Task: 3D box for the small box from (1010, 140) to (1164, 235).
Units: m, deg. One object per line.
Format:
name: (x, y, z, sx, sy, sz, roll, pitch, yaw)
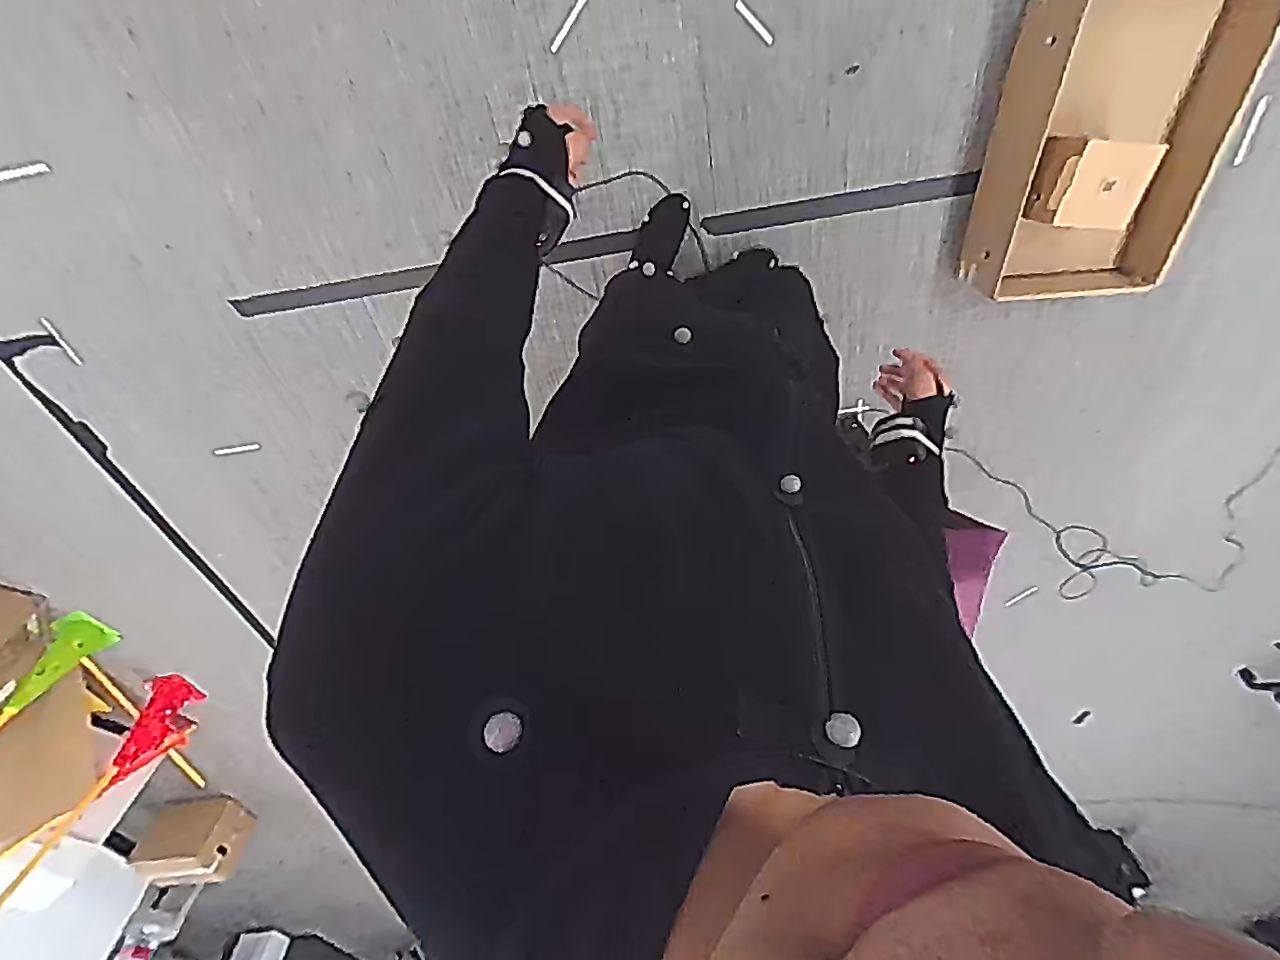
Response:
small box: (0.989, -0.663, 1.220, 0.179, 0.176, 0.168, 3, 125, -3)
